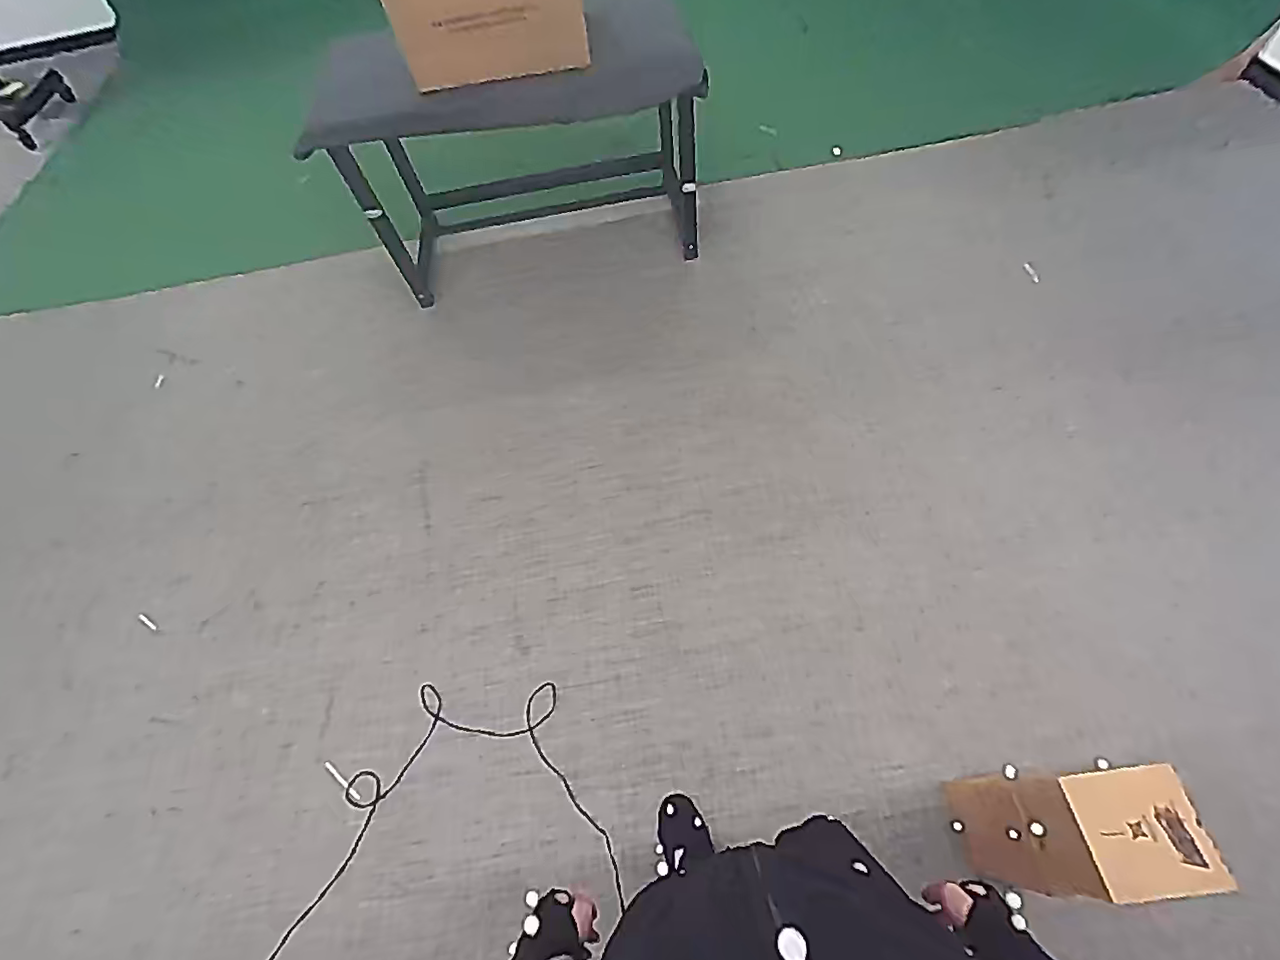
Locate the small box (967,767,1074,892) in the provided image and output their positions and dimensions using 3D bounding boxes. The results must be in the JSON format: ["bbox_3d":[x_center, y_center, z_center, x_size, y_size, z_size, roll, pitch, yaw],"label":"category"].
[{"bbox_3d":[0.768,0.655,1.033,0.168,0.176,0.179,-10,63,1],"label":"small box"}]

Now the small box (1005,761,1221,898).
[{"bbox_3d":[0.758,0.566,0.893,0.179,0.176,0.168,-9,60,2],"label":"small box"}]

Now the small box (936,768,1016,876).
[{"bbox_3d":[0.783,0.732,1.173,0.168,0.176,0.179,-8,61,1],"label":"small box"}]
